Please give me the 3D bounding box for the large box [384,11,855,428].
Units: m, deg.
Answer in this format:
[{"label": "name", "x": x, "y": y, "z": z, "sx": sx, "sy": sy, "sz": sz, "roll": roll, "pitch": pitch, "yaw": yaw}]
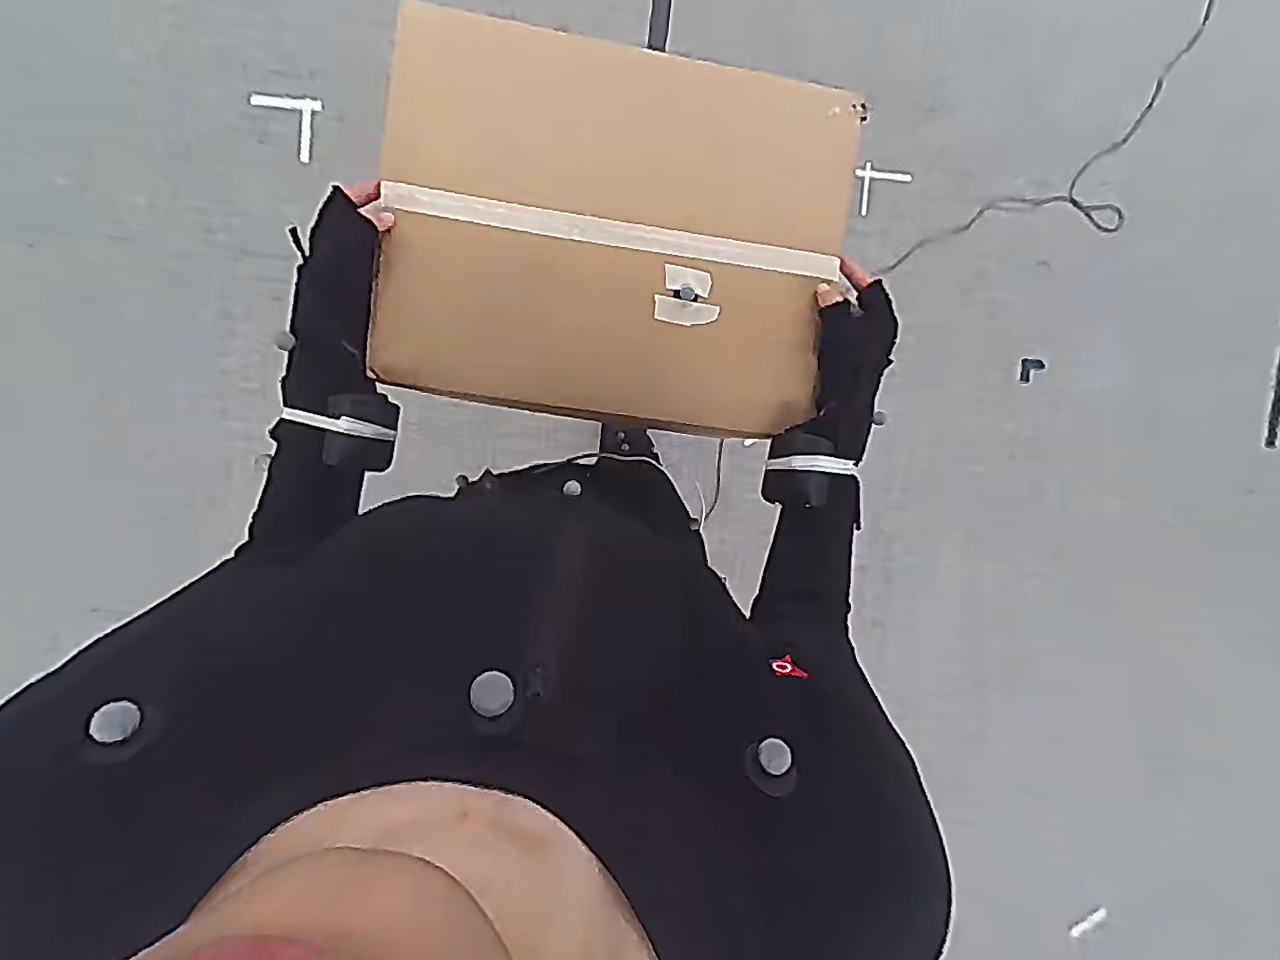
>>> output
[{"label": "large box", "x": -0.031, "y": -0.238, "z": 0.634, "sx": 0.408, "sy": 0.320, "sz": 0.320, "roll": 7, "pitch": 95, "yaw": -6}]
